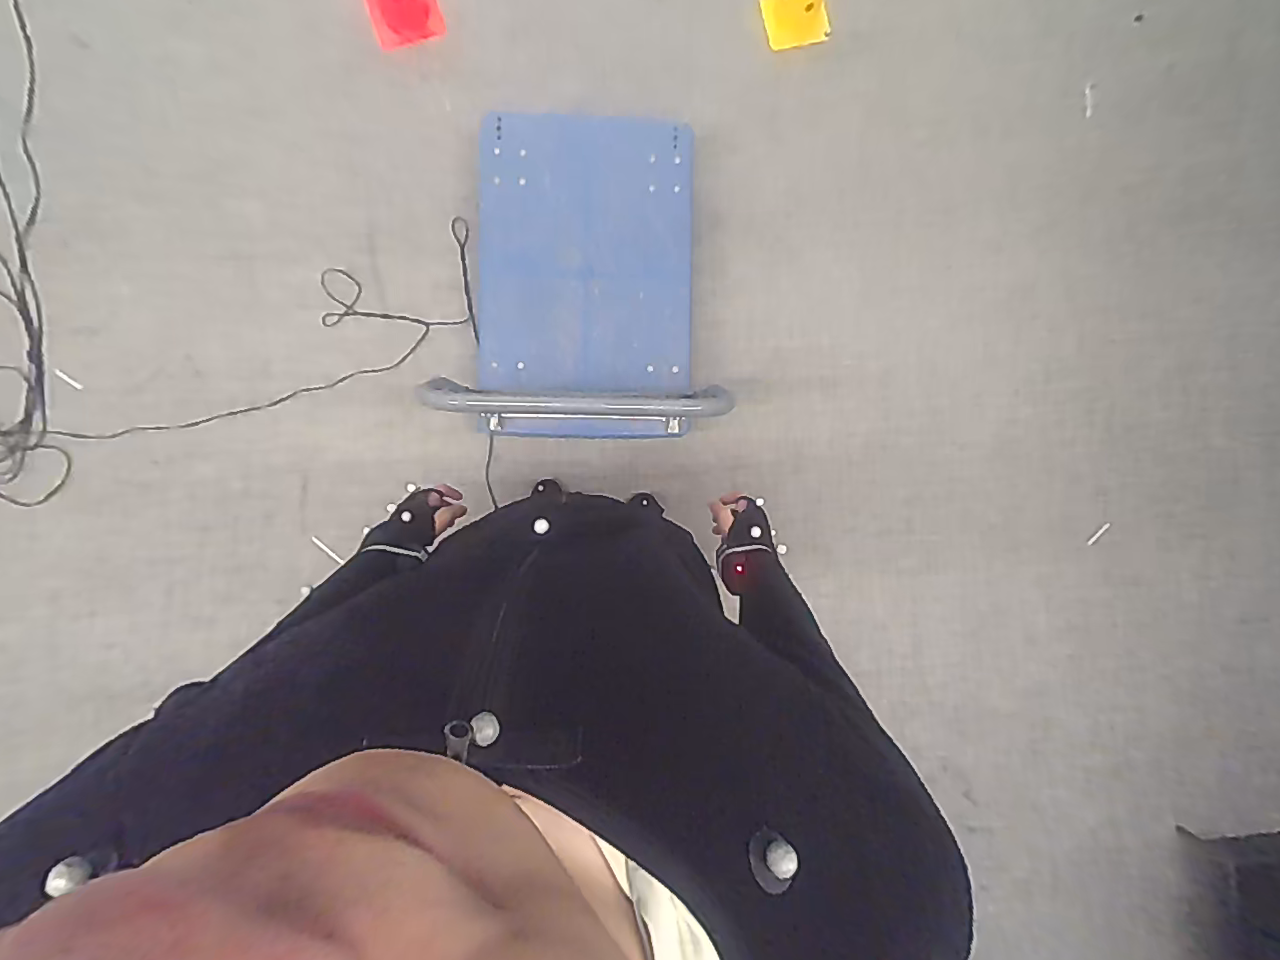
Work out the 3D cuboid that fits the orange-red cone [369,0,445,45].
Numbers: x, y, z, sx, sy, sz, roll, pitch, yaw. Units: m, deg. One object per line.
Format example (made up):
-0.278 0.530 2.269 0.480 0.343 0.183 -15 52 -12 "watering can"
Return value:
-0.685 -1.401 1.432 0.199 0.360 0.198 -17 90 -2 "orange-red cone"
